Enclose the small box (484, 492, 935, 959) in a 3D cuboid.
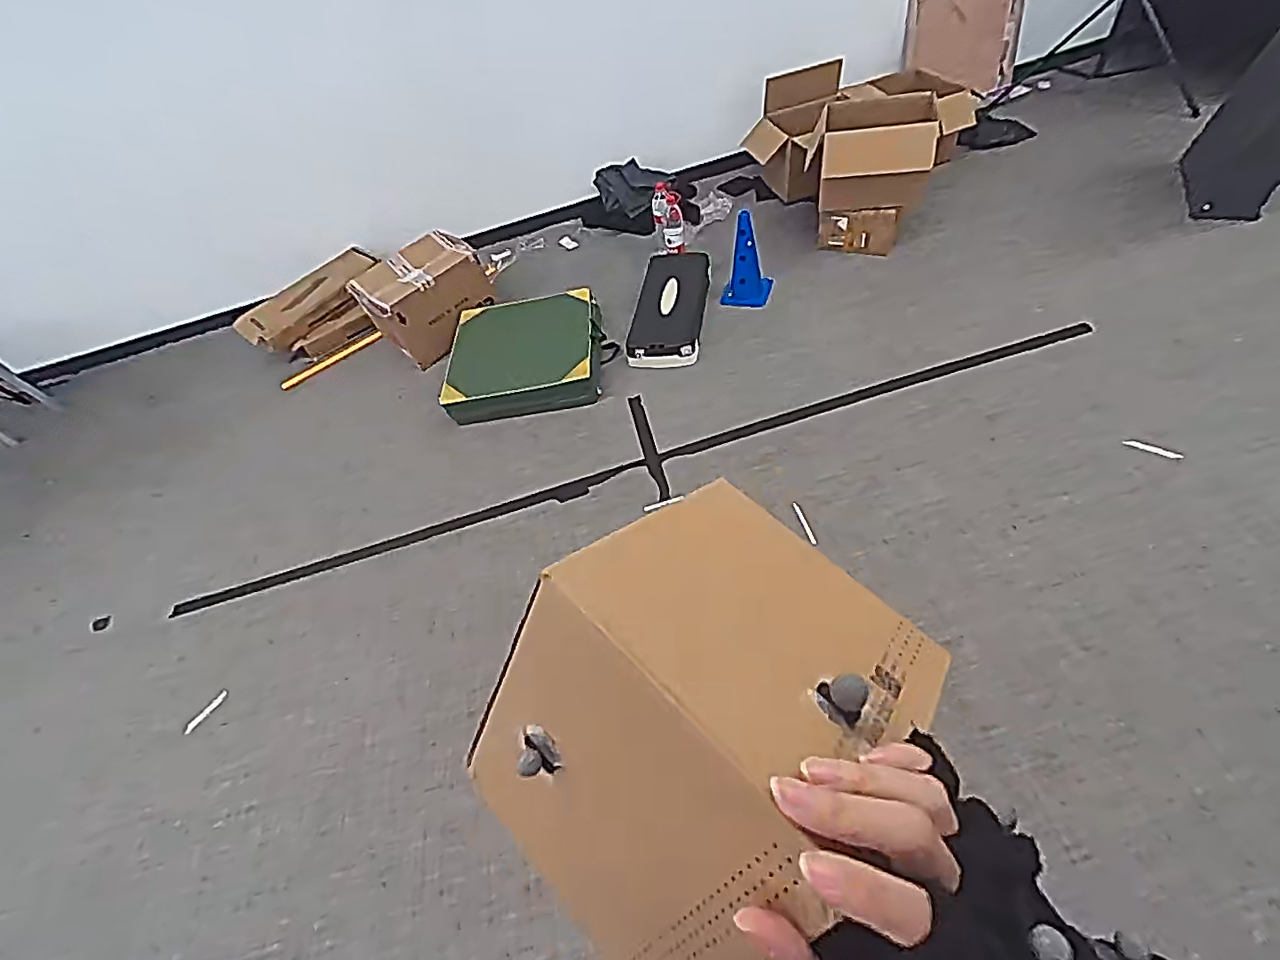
[{"bbox_3d":[0.037,0.141,0.327,0.176,0.179,0.168,39,35,21],"label":"small box"}]
